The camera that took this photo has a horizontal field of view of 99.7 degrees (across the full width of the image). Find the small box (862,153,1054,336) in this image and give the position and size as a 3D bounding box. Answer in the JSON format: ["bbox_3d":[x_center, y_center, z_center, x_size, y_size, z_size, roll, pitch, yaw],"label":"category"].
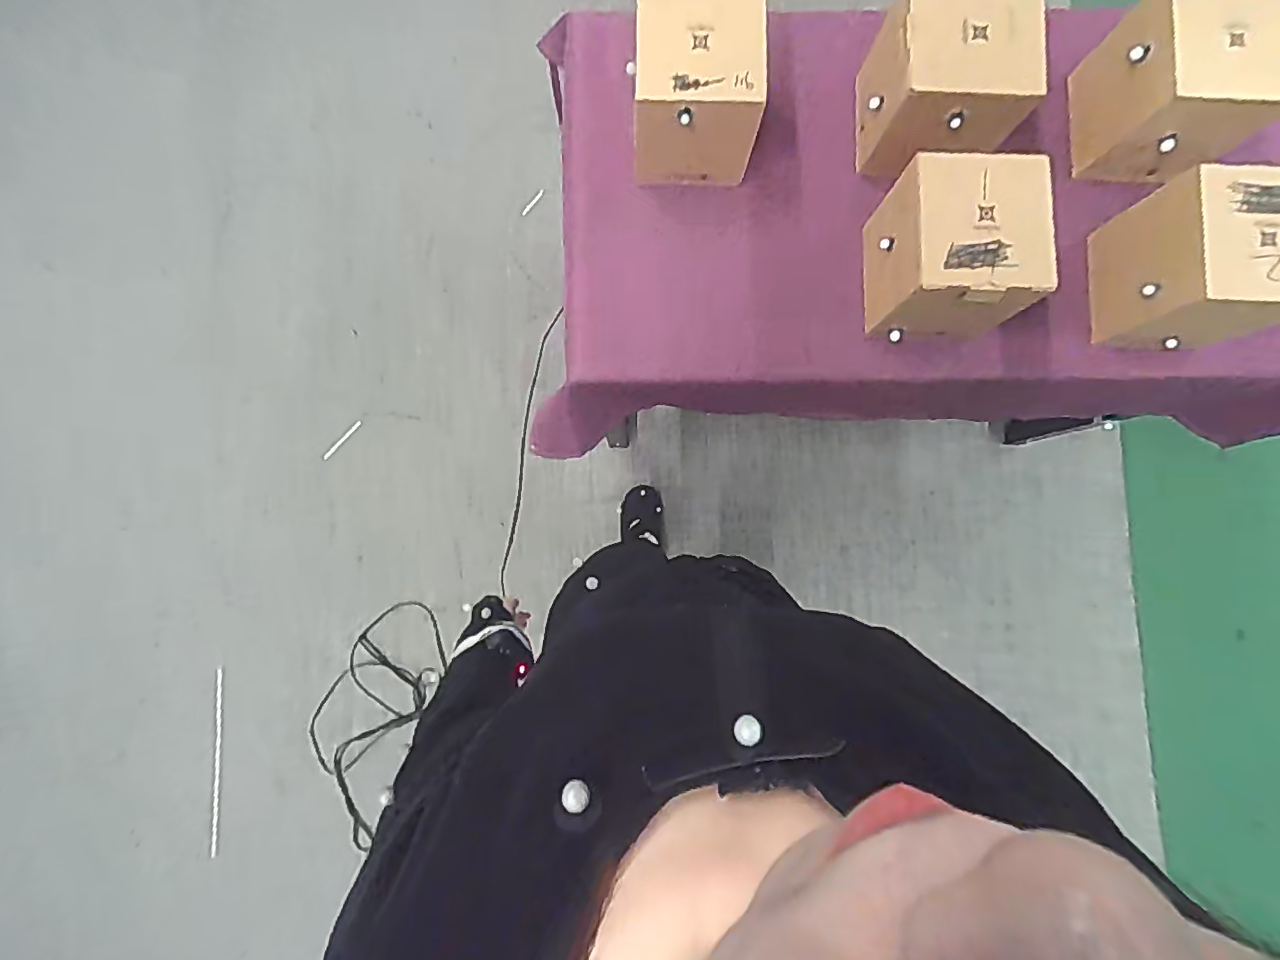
[{"bbox_3d":[0.415,-0.306,0.733,0.168,0.176,0.179,1,83,0],"label":"small box"}]

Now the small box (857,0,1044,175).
[{"bbox_3d":[0.420,-0.554,0.759,0.179,0.176,0.168,3,85,0],"label":"small box"}]

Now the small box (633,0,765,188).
[{"bbox_3d":[0.074,-0.547,0.758,0.168,0.176,0.179,1,84,0],"label":"small box"}]

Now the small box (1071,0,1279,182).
[{"bbox_3d":[0.748,-0.550,0.757,0.168,0.176,0.179,3,84,1],"label":"small box"}]
